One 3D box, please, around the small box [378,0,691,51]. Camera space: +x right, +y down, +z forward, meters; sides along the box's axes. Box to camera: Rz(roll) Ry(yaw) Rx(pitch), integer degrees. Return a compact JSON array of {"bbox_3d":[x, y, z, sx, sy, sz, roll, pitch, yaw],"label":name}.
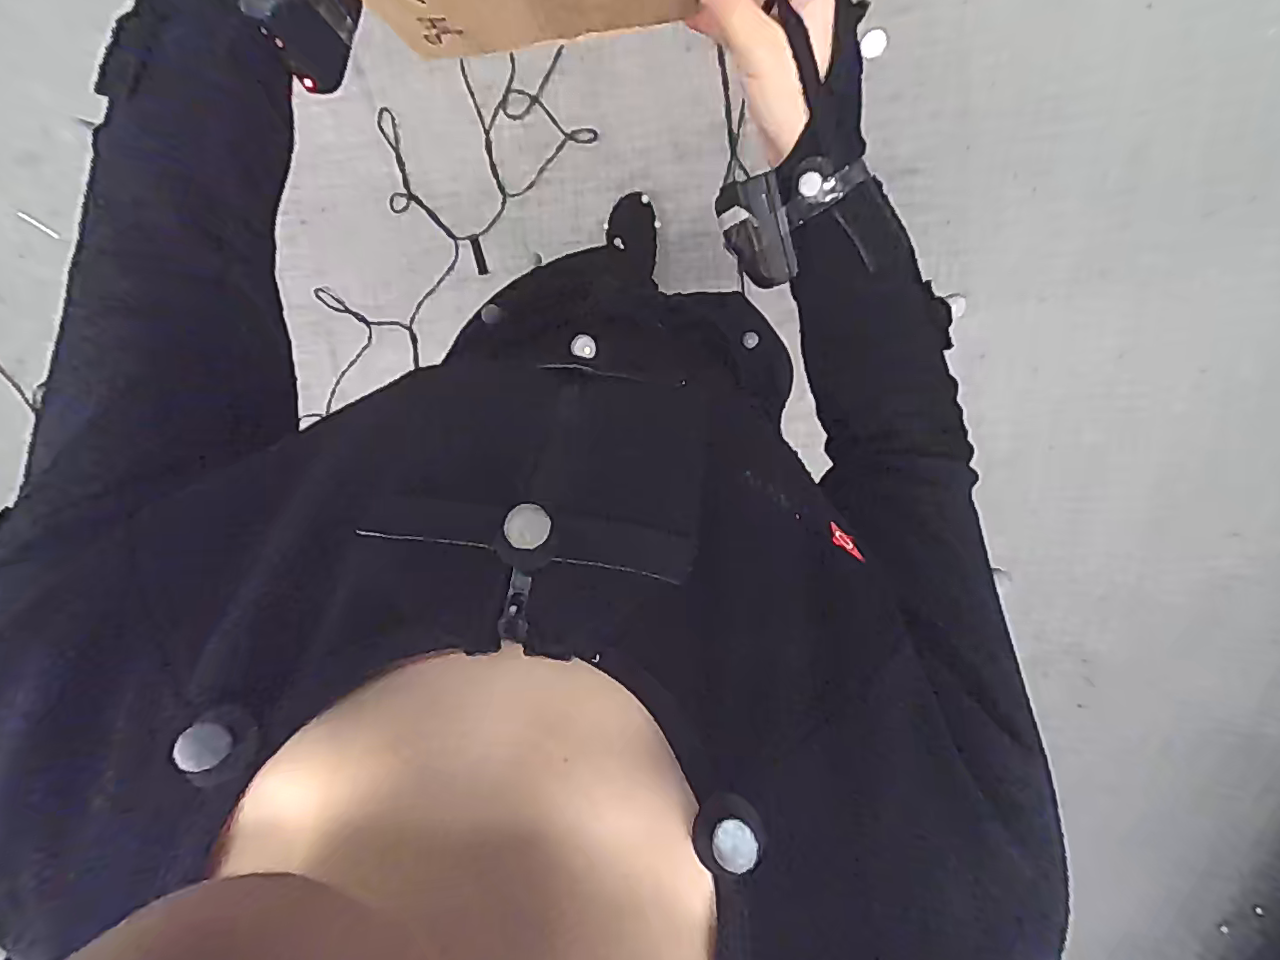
[{"bbox_3d":[-0.069,-0.339,0.236,0.179,0.168,0.176,-3,101,8],"label":"small box"}]
